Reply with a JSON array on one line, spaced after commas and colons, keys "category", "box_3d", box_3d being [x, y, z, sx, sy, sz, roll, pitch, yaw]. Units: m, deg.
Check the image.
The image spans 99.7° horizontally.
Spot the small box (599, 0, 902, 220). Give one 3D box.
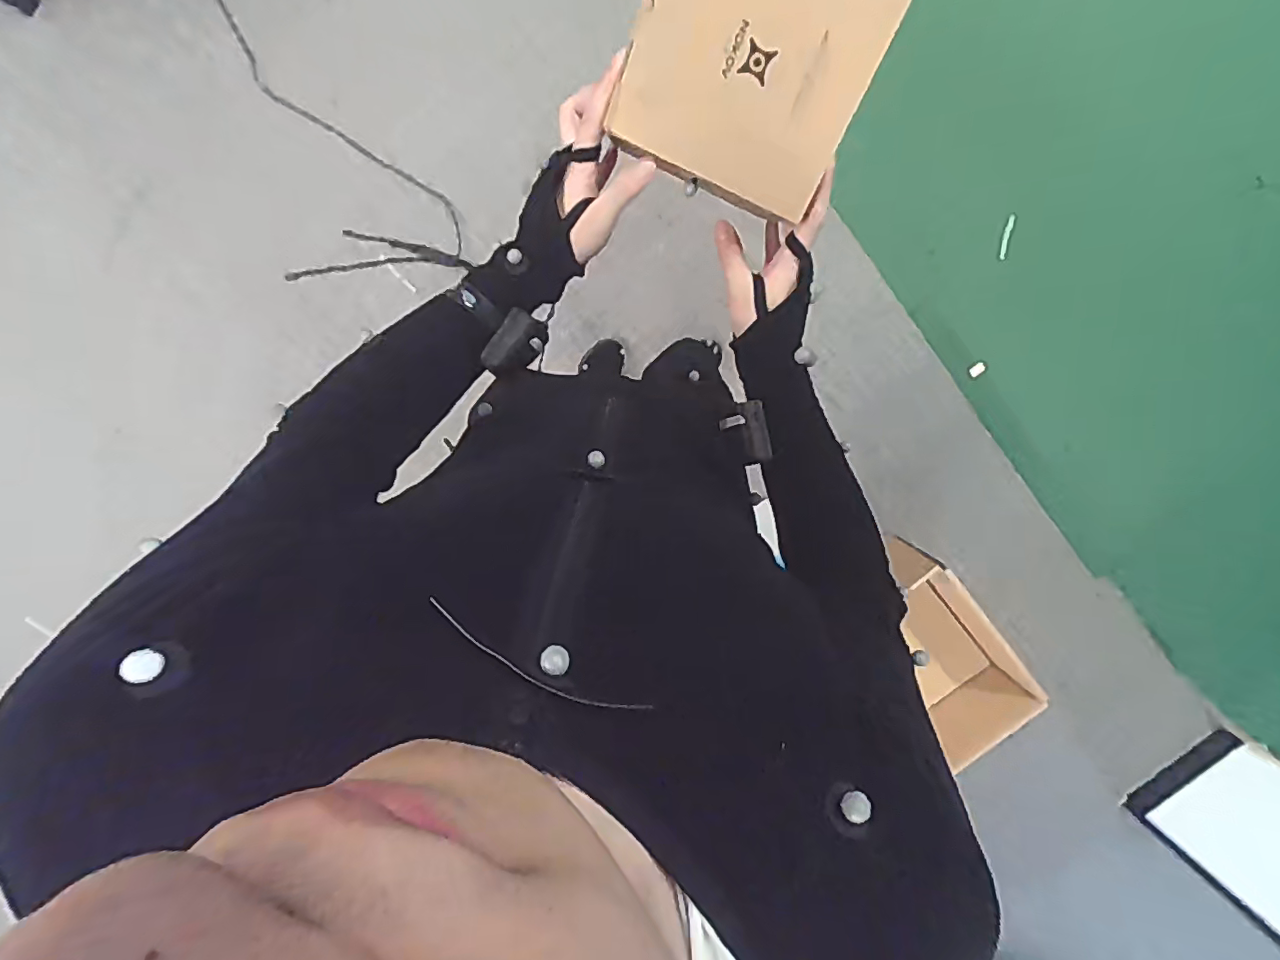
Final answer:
[{"category": "small box", "box_3d": [0.080, -0.342, 0.469, 0.179, 0.176, 0.168, 20, 116, -8]}]
